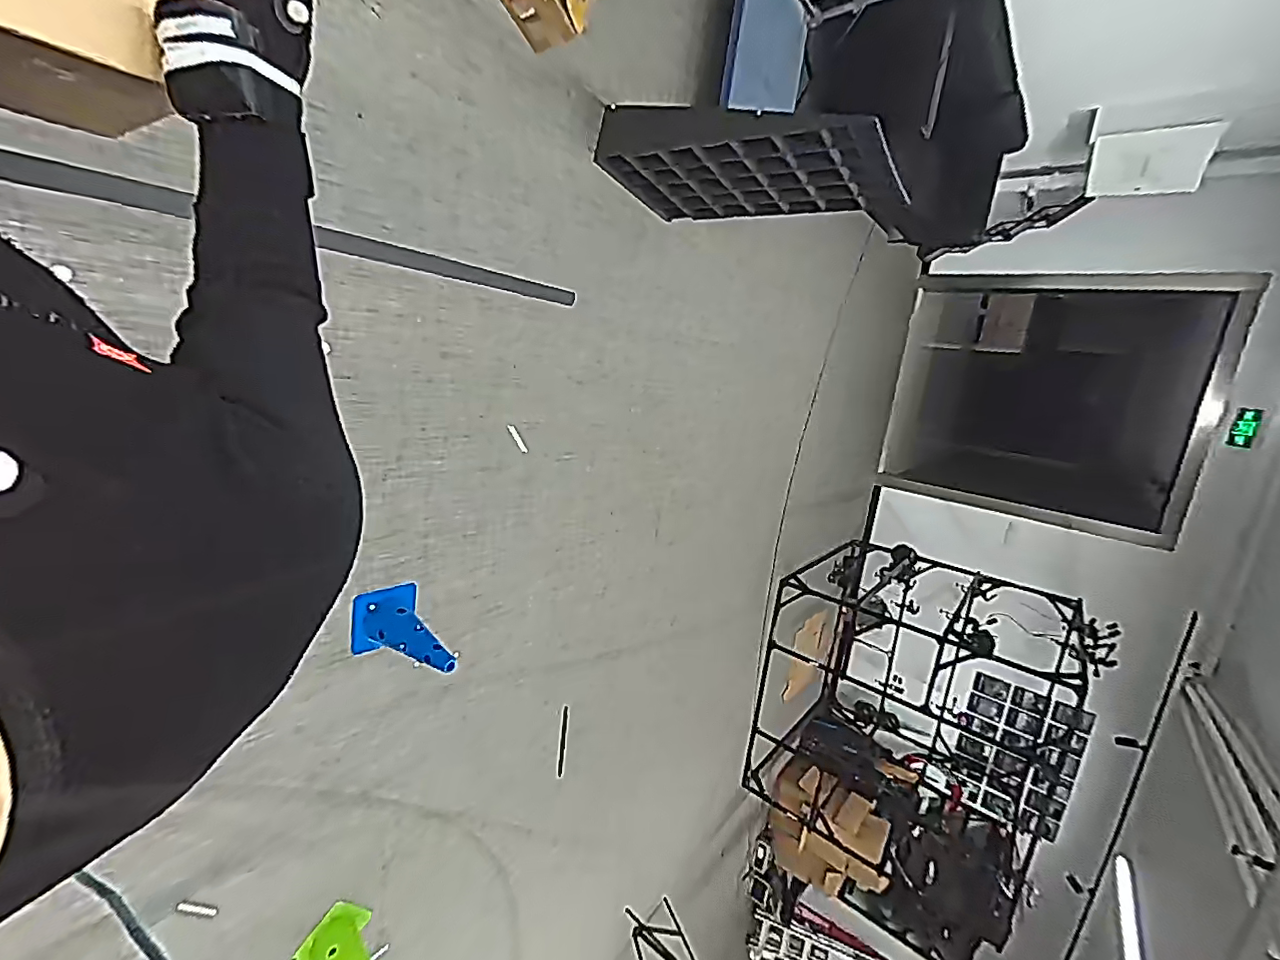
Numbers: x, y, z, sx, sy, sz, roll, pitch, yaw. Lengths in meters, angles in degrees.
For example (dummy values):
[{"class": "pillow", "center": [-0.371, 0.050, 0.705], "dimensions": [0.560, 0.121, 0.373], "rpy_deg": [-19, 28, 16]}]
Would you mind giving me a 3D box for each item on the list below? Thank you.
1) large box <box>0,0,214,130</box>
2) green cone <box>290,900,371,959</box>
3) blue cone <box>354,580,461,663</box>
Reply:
[{"class": "large box", "center": [-0.529, -0.443, 0.285], "dimensions": [0.408, 0.320, 0.320], "rpy_deg": [-11, 115, -53]}, {"class": "green cone", "center": [-0.894, 1.559, 1.706], "dimensions": [0.202, 0.368, 0.200], "rpy_deg": [-51, 139, -31]}, {"class": "blue cone", "center": [-0.669, 0.454, 1.604], "dimensions": [0.192, 0.380, 0.193], "rpy_deg": [-4, 106, -54]}]
